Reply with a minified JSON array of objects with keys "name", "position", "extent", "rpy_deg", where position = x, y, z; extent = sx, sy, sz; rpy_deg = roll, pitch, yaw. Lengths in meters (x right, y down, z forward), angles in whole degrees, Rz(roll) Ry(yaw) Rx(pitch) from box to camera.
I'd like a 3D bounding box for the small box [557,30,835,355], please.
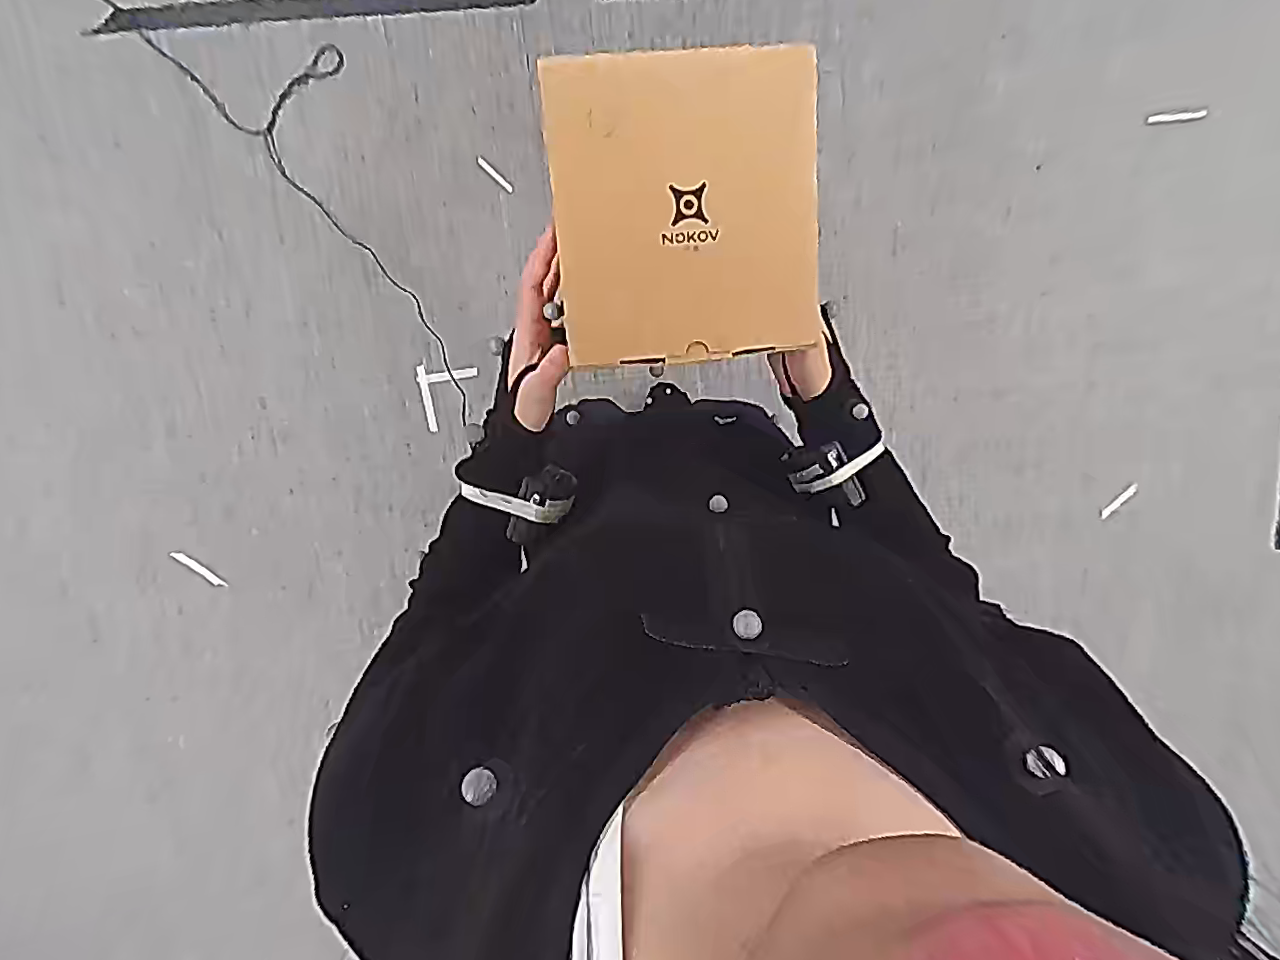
[{"name":"small box","position":[0.029,-0.188,0.404],"extent":[0.168,0.176,0.179],"rpy_deg":[-6,104,-4]}]
